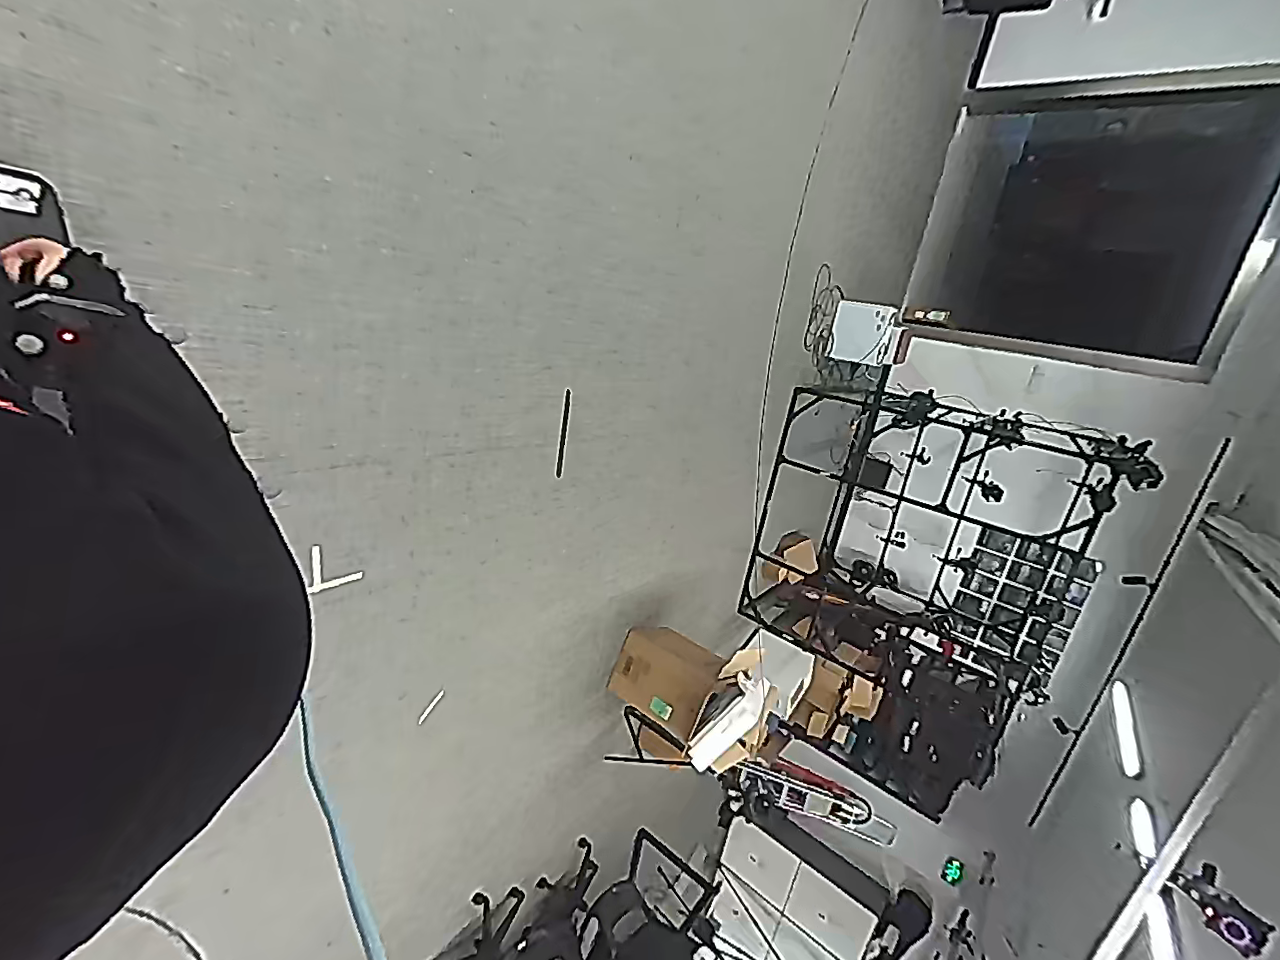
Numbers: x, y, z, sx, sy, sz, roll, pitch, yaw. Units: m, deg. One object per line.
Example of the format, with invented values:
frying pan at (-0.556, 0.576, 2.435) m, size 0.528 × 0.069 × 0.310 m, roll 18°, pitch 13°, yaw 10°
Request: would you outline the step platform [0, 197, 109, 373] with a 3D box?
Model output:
step platform at (-1.236, -0.334, 0.772) m, size 0.684 × 0.204 × 0.286 m, roll -5°, pitch 111°, yaw -55°
